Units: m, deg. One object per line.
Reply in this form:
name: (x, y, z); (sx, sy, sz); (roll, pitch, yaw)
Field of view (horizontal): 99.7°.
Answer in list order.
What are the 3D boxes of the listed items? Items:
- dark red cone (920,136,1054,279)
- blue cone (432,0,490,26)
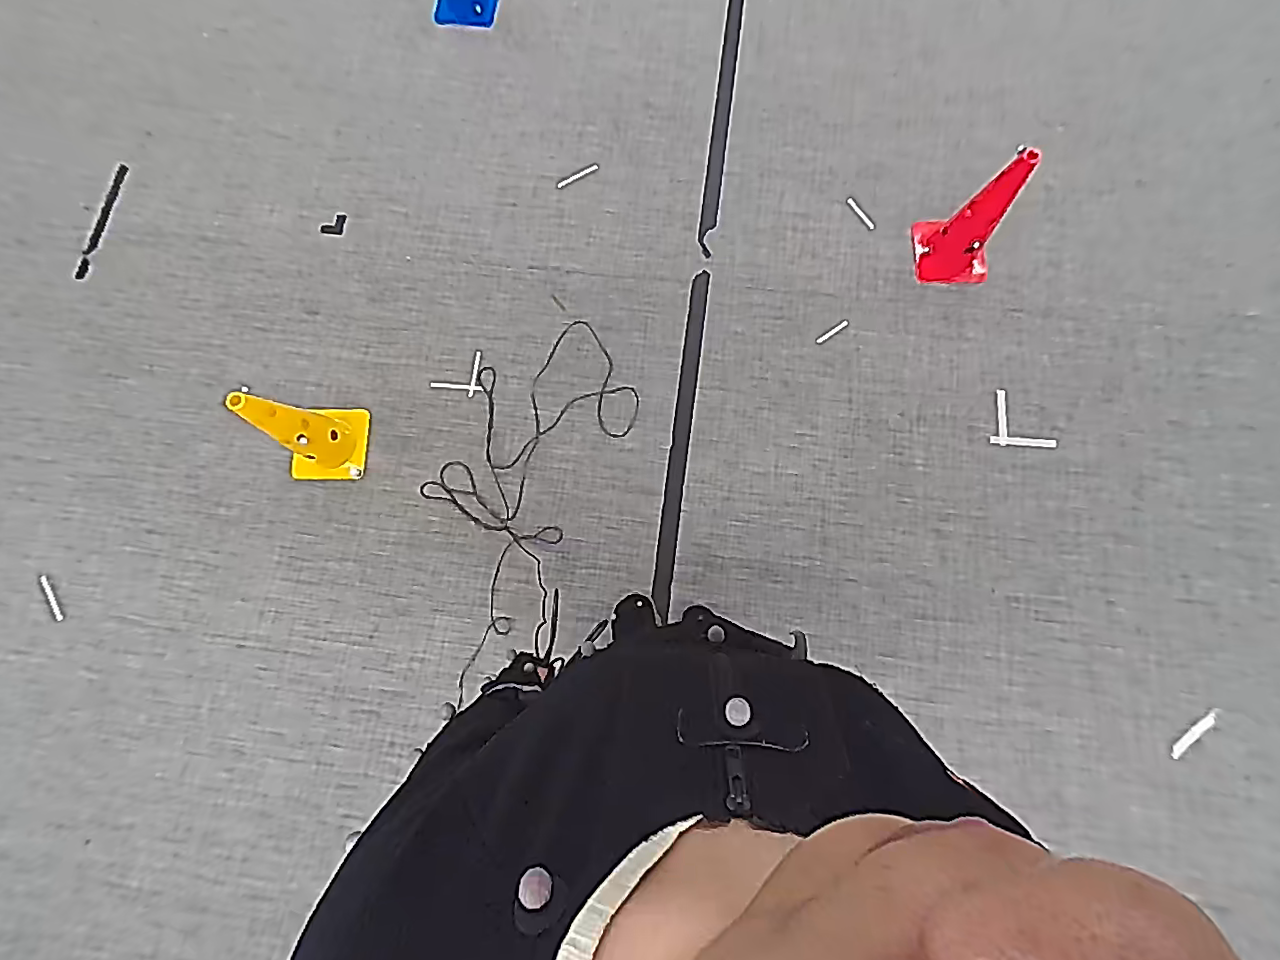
dark red cone: (0.888, -0.692, 1.359); (0.201, 0.394, 0.202); (-1, 78, 2)
blue cone: (-0.593, -1.608, 1.620); (0.192, 0.380, 0.193); (7, 78, 4)
